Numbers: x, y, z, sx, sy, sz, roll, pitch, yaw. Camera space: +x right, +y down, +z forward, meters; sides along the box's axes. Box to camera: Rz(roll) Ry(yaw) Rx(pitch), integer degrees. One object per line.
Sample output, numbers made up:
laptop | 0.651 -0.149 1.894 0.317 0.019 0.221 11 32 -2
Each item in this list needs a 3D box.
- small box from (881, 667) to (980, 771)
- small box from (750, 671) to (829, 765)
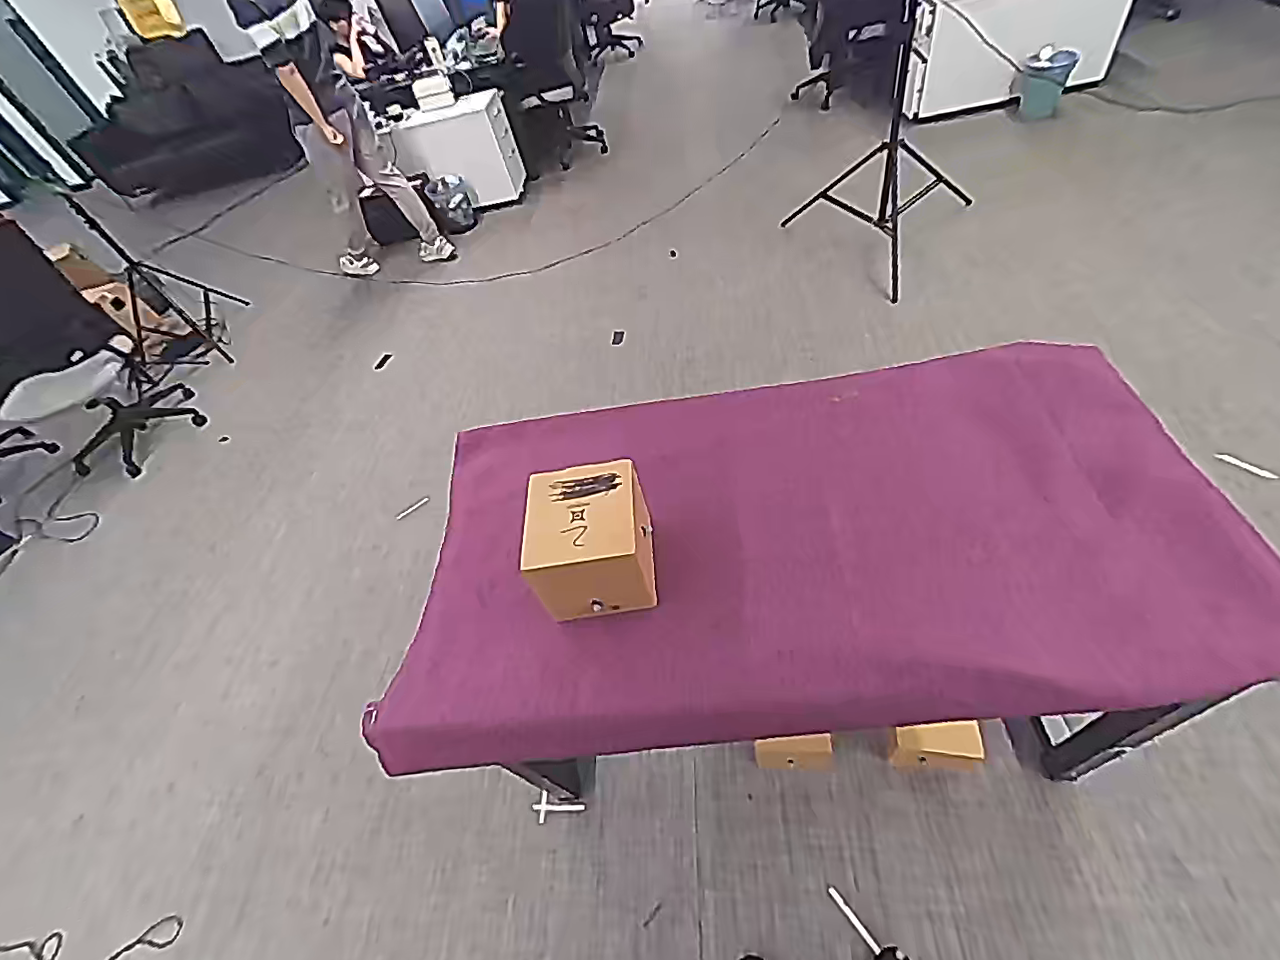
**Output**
small box | 0.660 0.554 1.249 0.168 0.176 0.179 0 51 16
small box | 0.358 0.578 1.306 0.168 0.176 0.179 -5 50 10
